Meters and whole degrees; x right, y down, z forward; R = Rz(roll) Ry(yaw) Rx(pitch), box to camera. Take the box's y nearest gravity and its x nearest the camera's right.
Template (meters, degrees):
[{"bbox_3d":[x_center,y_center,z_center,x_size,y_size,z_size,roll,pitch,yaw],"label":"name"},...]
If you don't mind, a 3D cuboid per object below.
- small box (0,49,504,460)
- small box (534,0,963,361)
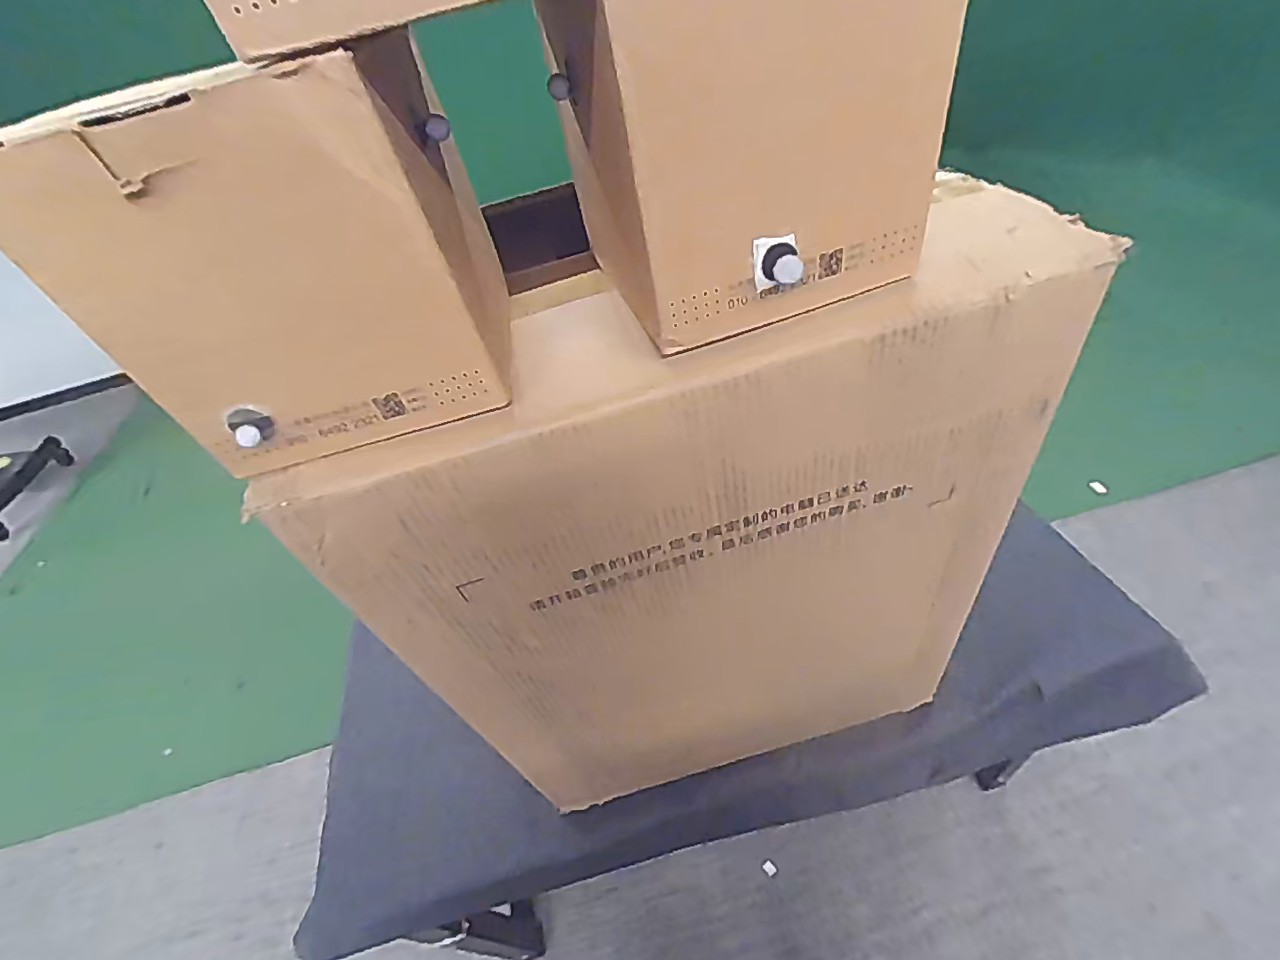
[{"bbox_3d":[-0.187,-0.130,0.317,0.168,0.176,0.179,-15,43,1],"label":"small box"},{"bbox_3d":[0.048,-0.200,0.323,0.168,0.176,0.179,-21,46,-5],"label":"small box"}]
